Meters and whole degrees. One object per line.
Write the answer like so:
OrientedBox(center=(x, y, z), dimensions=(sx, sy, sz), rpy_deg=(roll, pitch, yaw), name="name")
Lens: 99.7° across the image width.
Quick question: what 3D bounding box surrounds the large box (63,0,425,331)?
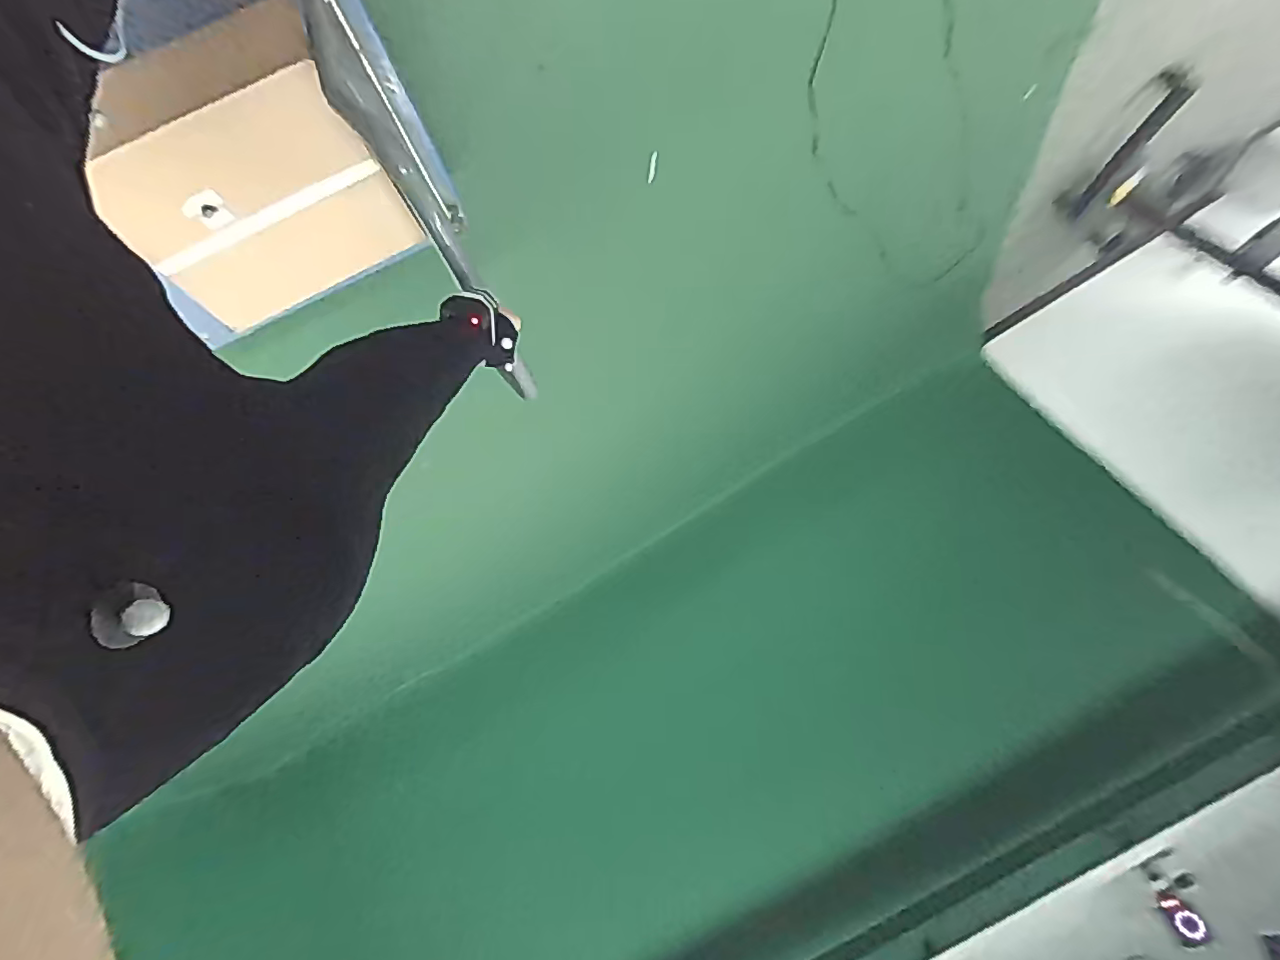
OrientedBox(center=(-0.675, -0.555, 0.966), dimensions=(0.408, 0.320, 0.320), rpy_deg=(-29, 151, -3), name="large box")
